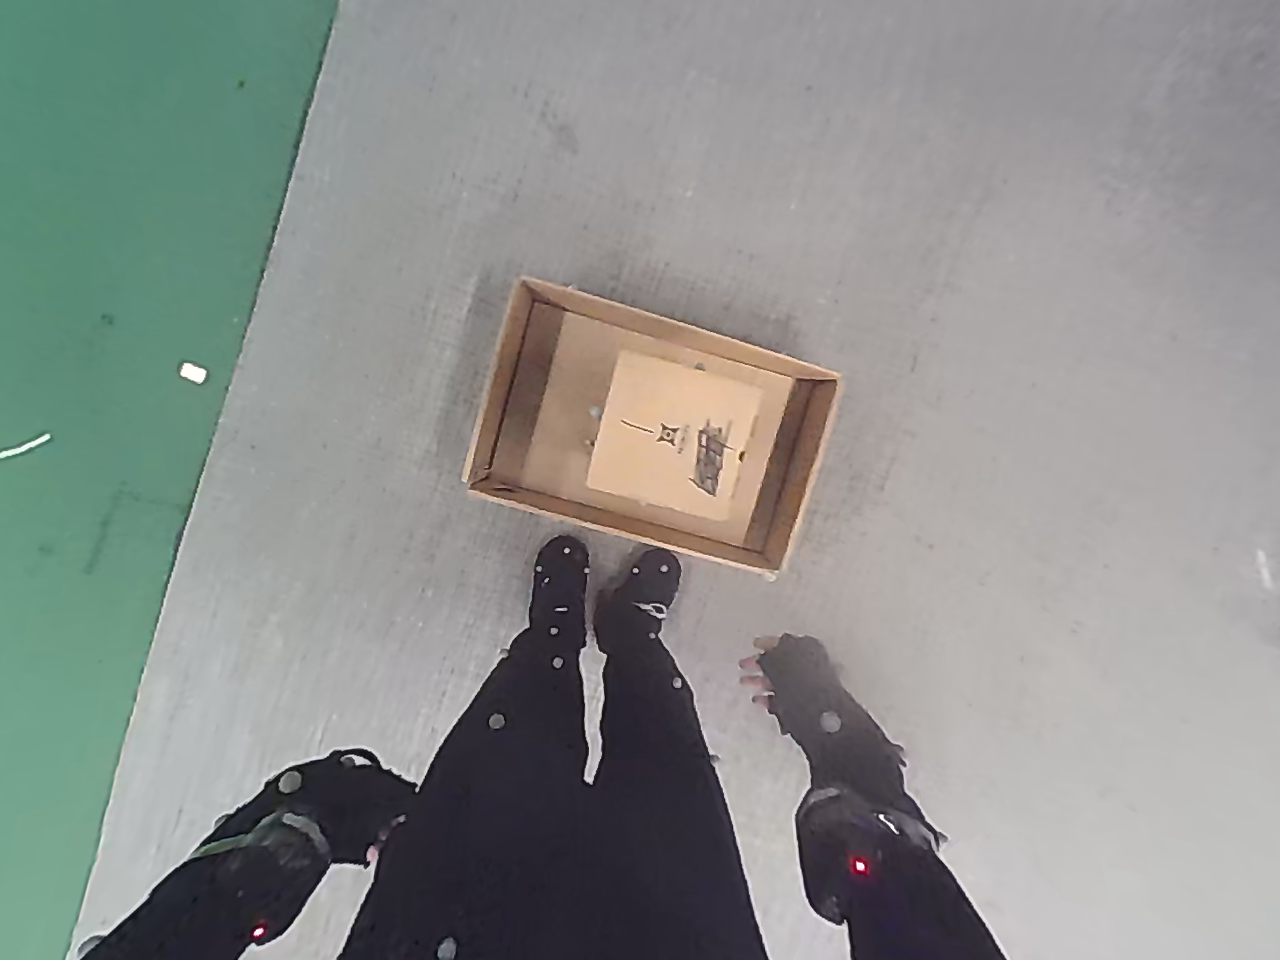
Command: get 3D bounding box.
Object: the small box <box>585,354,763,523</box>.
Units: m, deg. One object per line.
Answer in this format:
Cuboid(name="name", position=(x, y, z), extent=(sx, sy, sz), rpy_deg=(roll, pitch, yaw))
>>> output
Cuboid(name="small box", position=(0.036, -0.056, 0.711), extent=(0.179, 0.176, 0.168), rpy_deg=(15, 96, -4))
